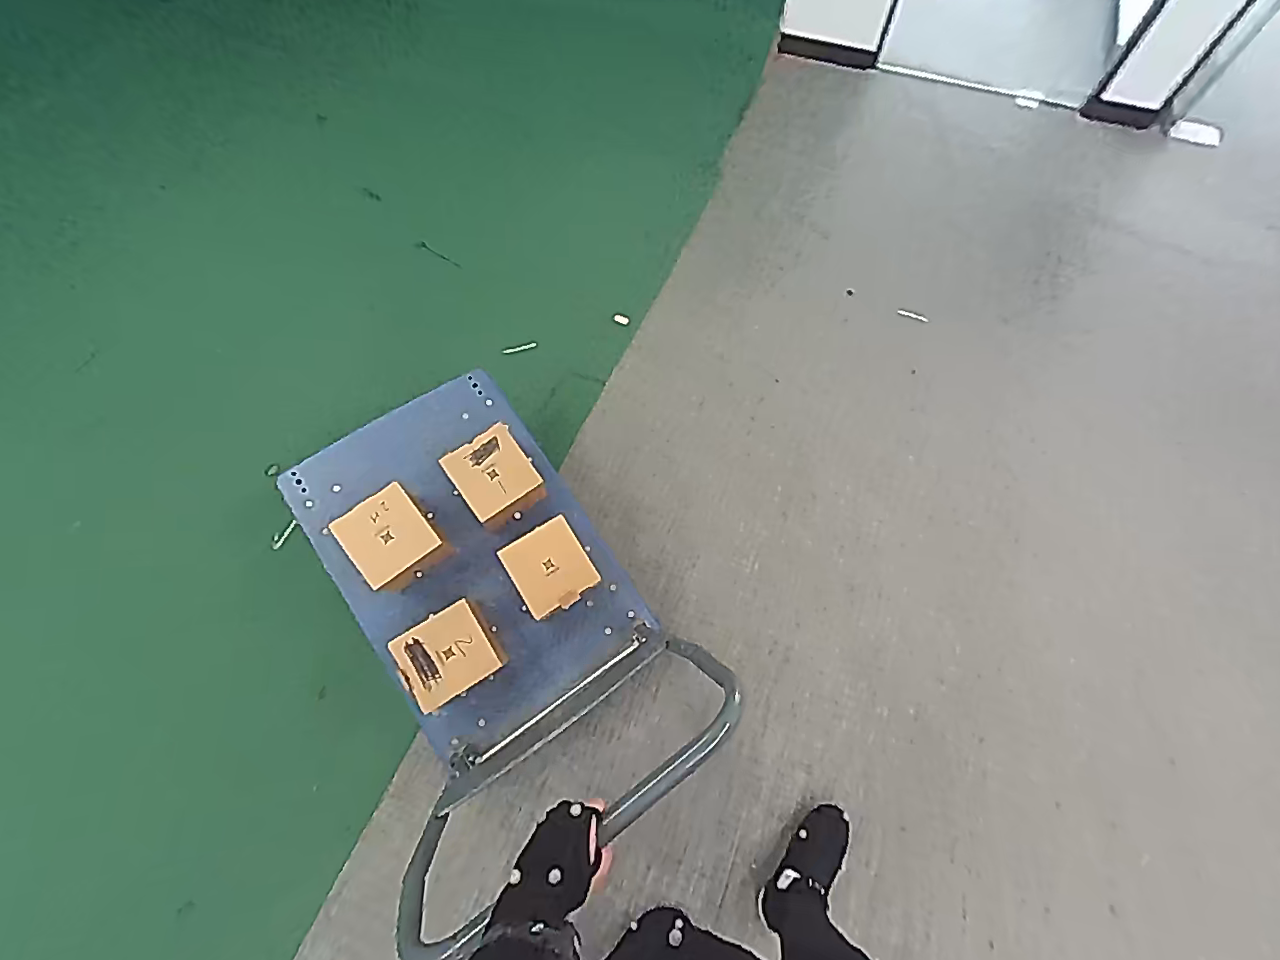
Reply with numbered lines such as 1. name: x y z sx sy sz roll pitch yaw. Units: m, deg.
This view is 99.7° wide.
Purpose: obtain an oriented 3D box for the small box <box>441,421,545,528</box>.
1. small box: -0.340 -0.005 1.283 0.168 0.176 0.179 -35 84 -14

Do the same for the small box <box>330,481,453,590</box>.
1. small box: -0.548 0.131 1.221 0.168 0.176 0.179 -37 84 -15

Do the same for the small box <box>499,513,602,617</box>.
1. small box: -0.207 0.203 1.255 0.168 0.176 0.179 -31 84 -14
